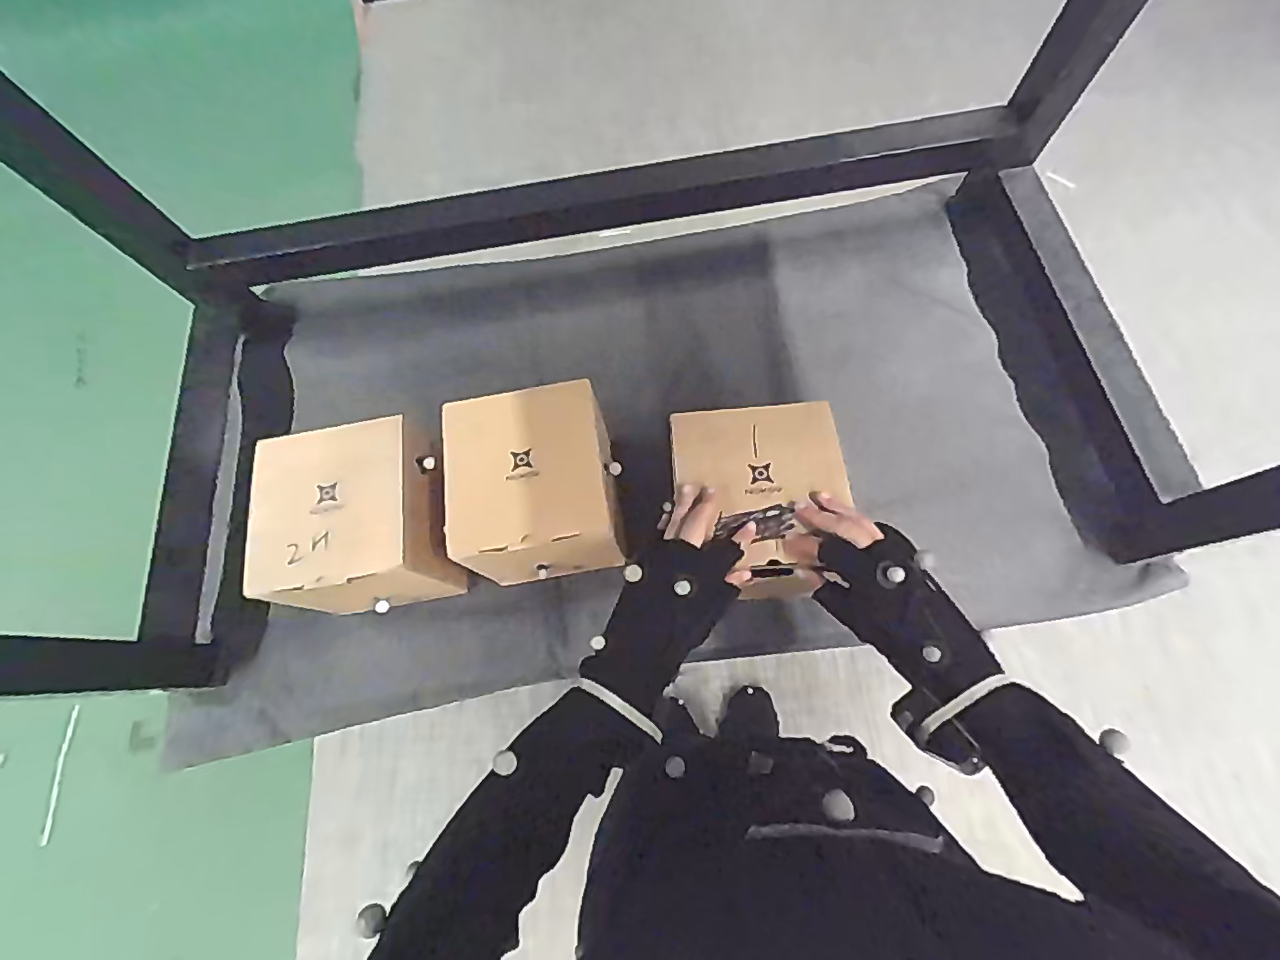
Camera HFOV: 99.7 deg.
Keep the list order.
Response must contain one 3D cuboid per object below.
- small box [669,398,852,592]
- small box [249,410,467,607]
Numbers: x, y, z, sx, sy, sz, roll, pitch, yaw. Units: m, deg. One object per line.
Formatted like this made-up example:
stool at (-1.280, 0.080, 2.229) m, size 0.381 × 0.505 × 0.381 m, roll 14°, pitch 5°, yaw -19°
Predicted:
small box at (0.122, 0.029, 0.610) m, size 0.168 × 0.176 × 0.179 m, roll -4°, pitch 69°, yaw 3°
small box at (-0.316, 0.042, 0.642) m, size 0.168 × 0.176 × 0.179 m, roll -10°, pitch 70°, yaw 1°
